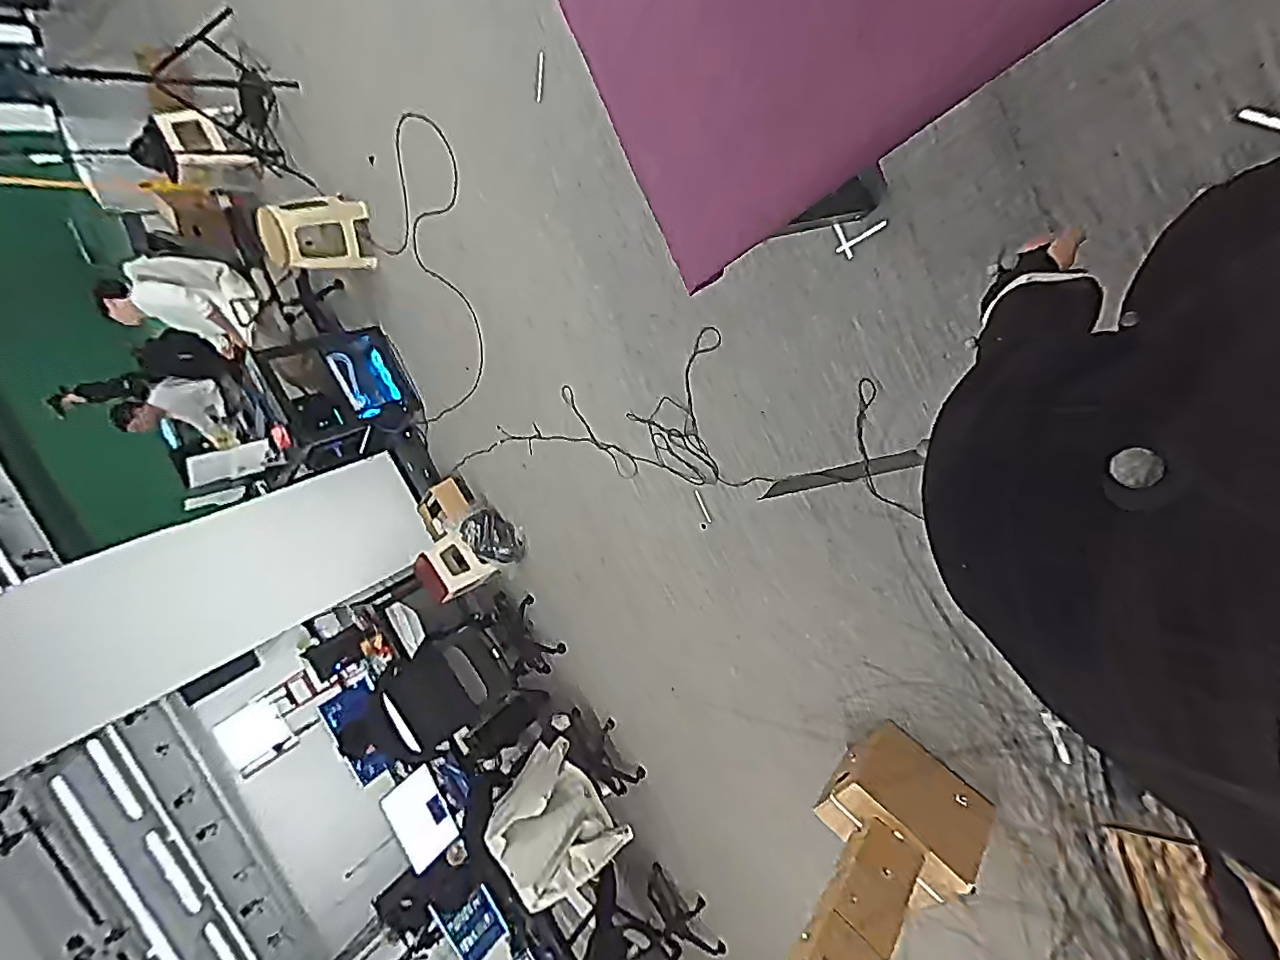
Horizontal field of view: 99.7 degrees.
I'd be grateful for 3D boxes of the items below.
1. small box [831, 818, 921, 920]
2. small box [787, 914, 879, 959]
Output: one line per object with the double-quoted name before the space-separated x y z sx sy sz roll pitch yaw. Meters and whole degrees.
"small box" 0.740 1.212 1.692 0.179 0.176 0.168 38 134 25
"small box" 0.522 1.335 1.477 0.179 0.176 0.168 38 135 24
